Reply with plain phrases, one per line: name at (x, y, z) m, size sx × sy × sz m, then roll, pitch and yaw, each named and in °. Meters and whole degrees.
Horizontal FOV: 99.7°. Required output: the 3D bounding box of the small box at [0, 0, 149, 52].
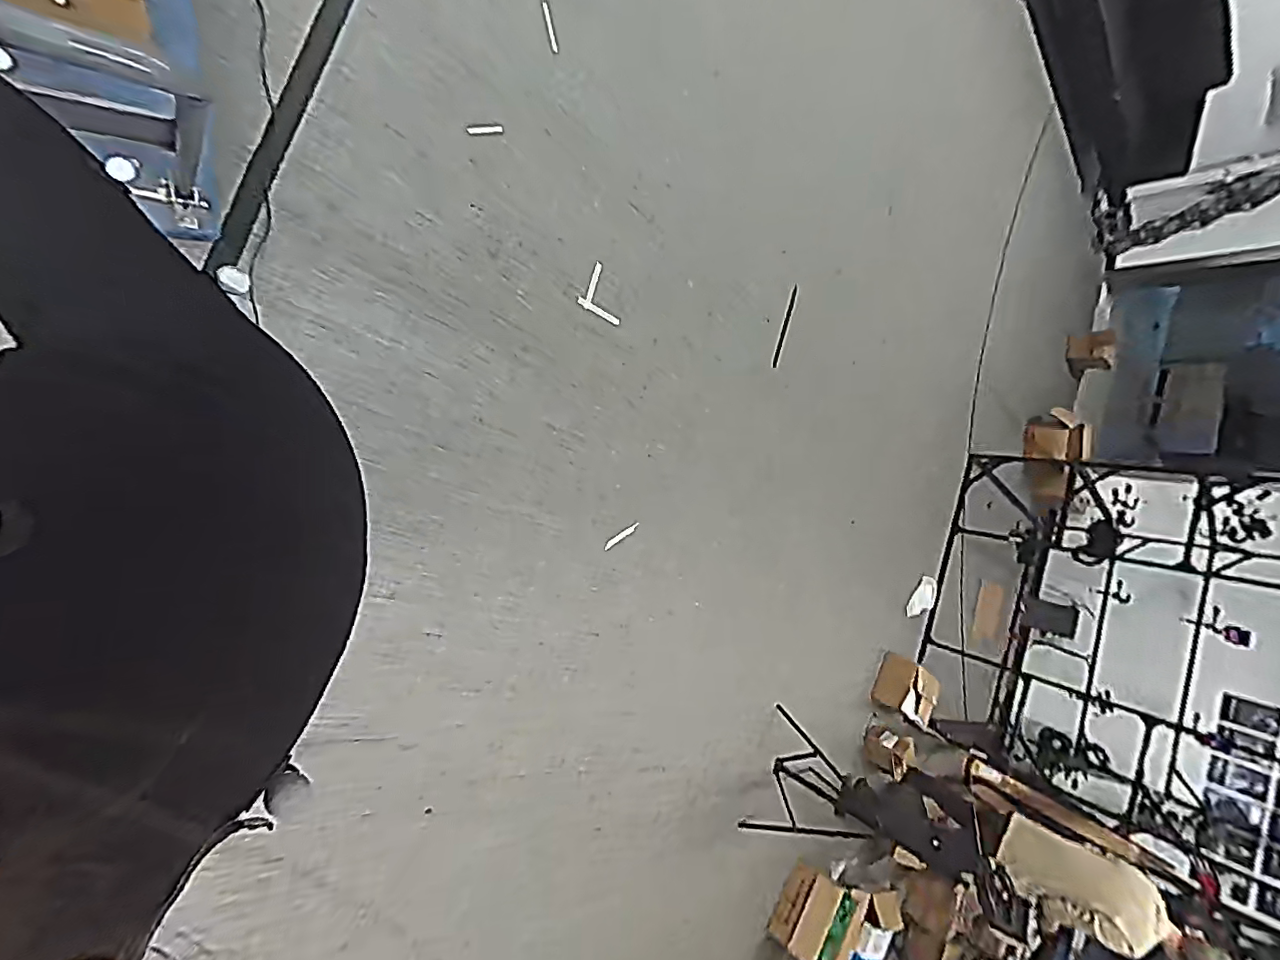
small box at (-0.861, -0.782, 0.798) m, size 0.179 × 0.176 × 0.168 m, roll -12°, pitch 104°, yaw -38°
